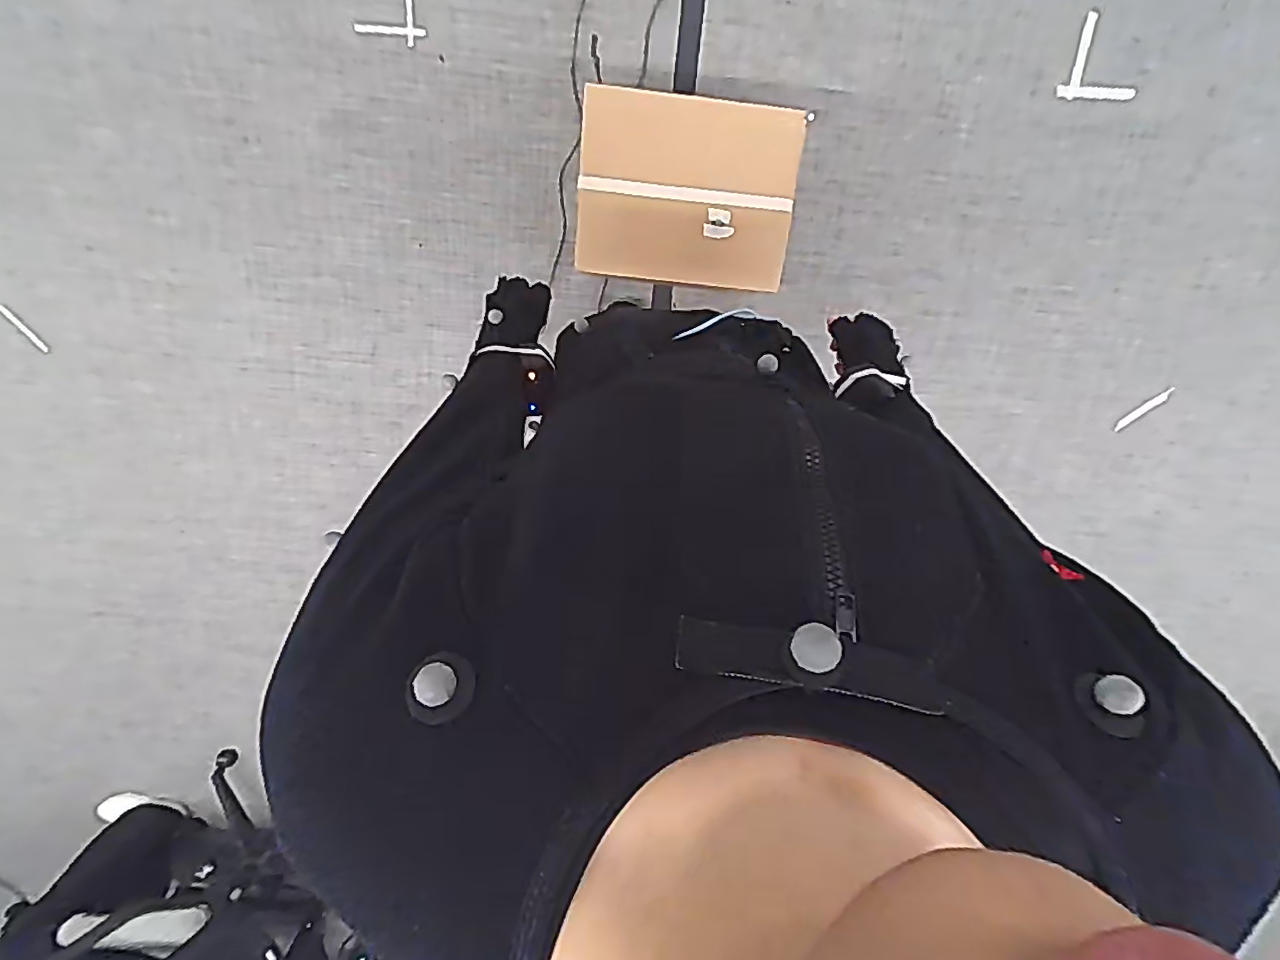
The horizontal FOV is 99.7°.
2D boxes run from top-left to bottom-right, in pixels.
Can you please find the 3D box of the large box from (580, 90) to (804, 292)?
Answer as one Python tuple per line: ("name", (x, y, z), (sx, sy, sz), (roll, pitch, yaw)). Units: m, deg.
("large box", (0.085, -0.585, 1.162), (0.408, 0.320, 0.320), (5, 109, -3))
